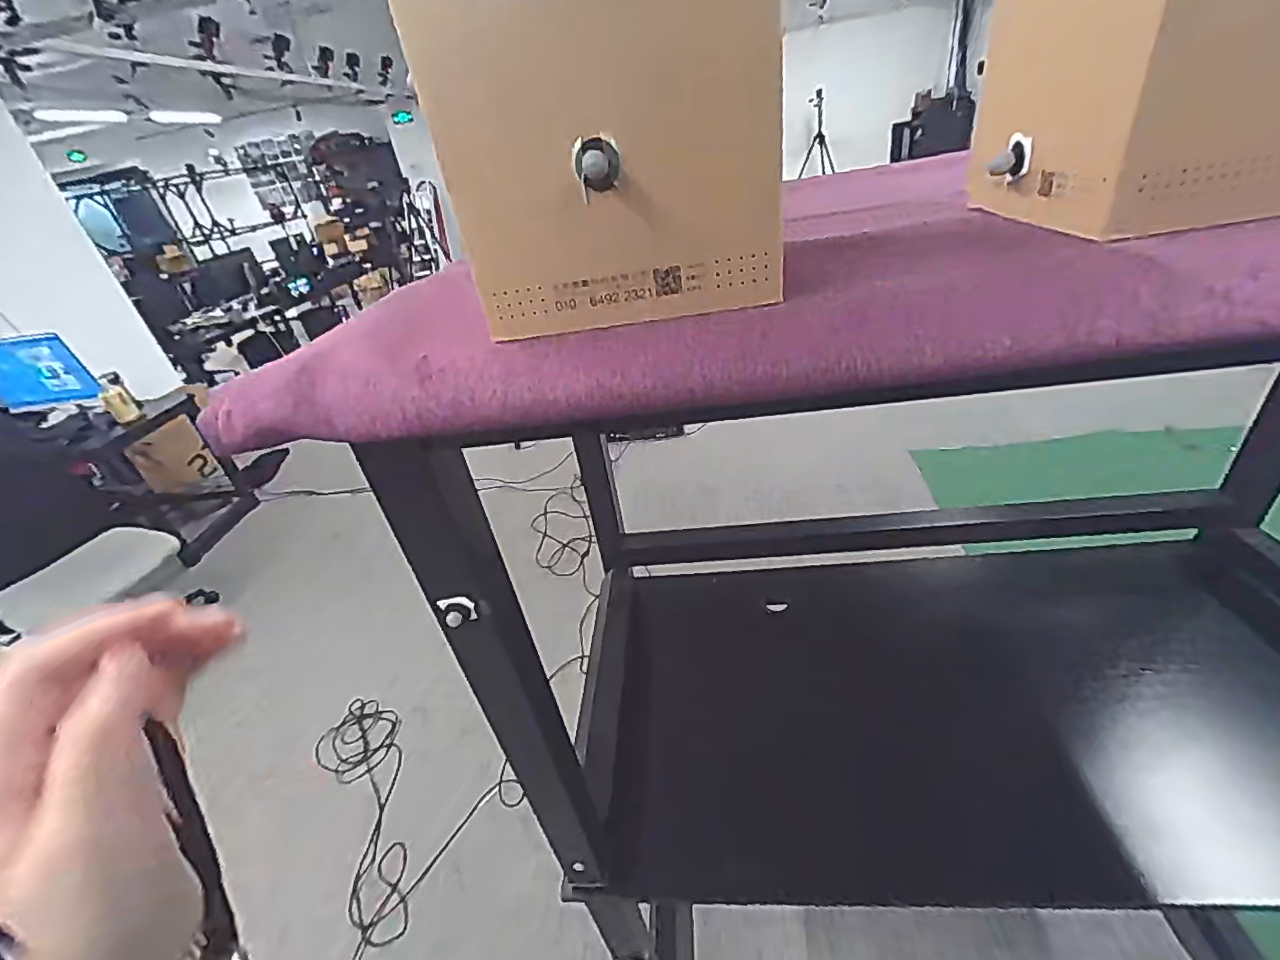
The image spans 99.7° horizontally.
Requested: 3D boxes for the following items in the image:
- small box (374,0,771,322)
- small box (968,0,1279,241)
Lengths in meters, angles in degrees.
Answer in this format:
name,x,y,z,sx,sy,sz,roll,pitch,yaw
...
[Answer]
name,x,y,z,sx,sy,sz,roll,pitch,yaw
small box,-0.018,-0.201,0.321,0.168,0.176,0.179,-6,34,5
small box,0.321,-0.249,0.304,0.179,0.176,0.168,-7,33,7
